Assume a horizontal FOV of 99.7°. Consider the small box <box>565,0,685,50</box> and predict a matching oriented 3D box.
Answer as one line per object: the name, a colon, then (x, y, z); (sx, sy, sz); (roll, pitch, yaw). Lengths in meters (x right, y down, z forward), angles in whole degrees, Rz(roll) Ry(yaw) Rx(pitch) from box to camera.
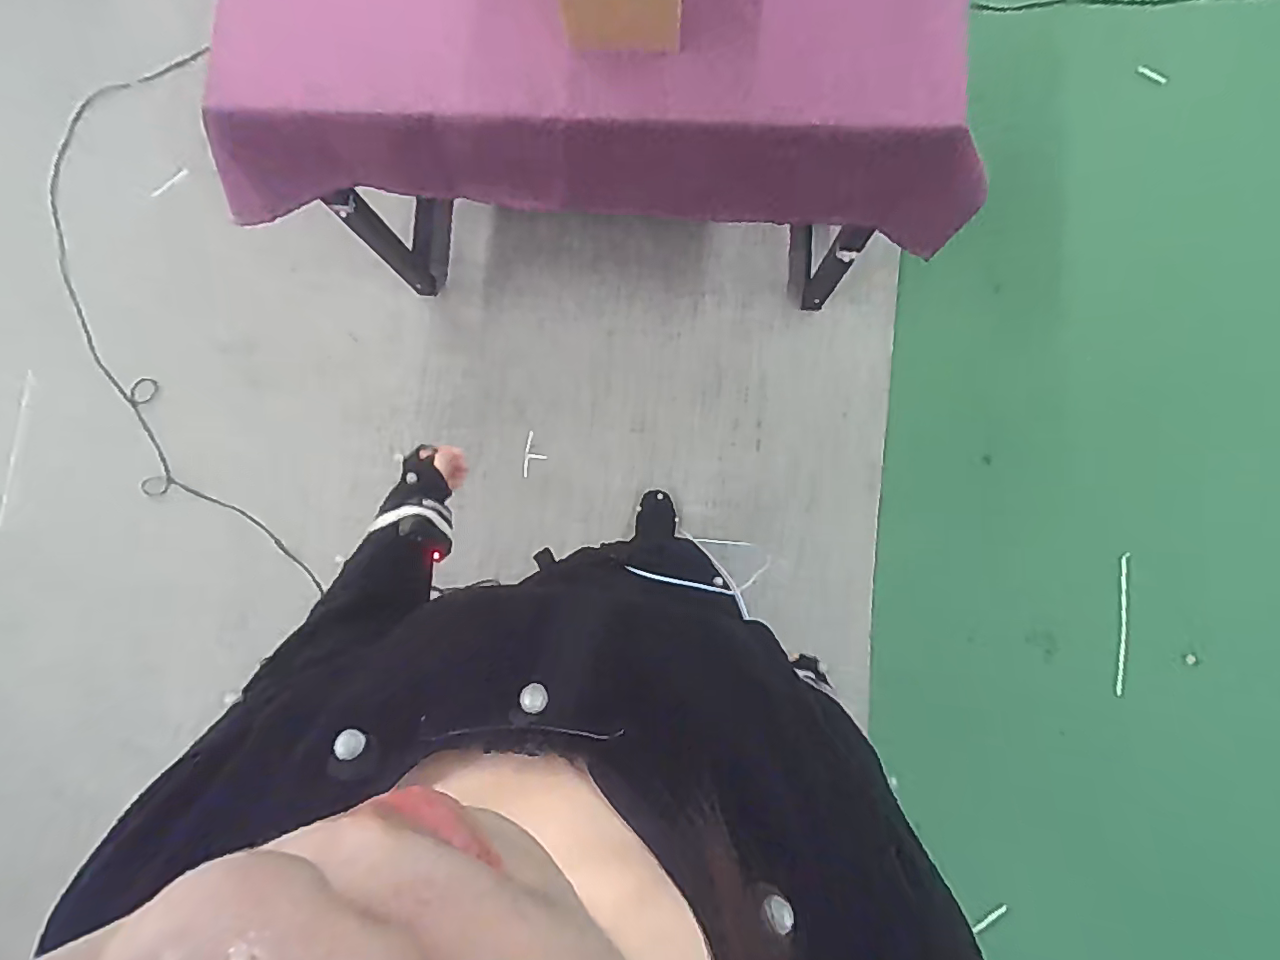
small box: (-0.017, -0.765, 0.779); (0.179, 0.176, 0.168); (3, 84, 3)
